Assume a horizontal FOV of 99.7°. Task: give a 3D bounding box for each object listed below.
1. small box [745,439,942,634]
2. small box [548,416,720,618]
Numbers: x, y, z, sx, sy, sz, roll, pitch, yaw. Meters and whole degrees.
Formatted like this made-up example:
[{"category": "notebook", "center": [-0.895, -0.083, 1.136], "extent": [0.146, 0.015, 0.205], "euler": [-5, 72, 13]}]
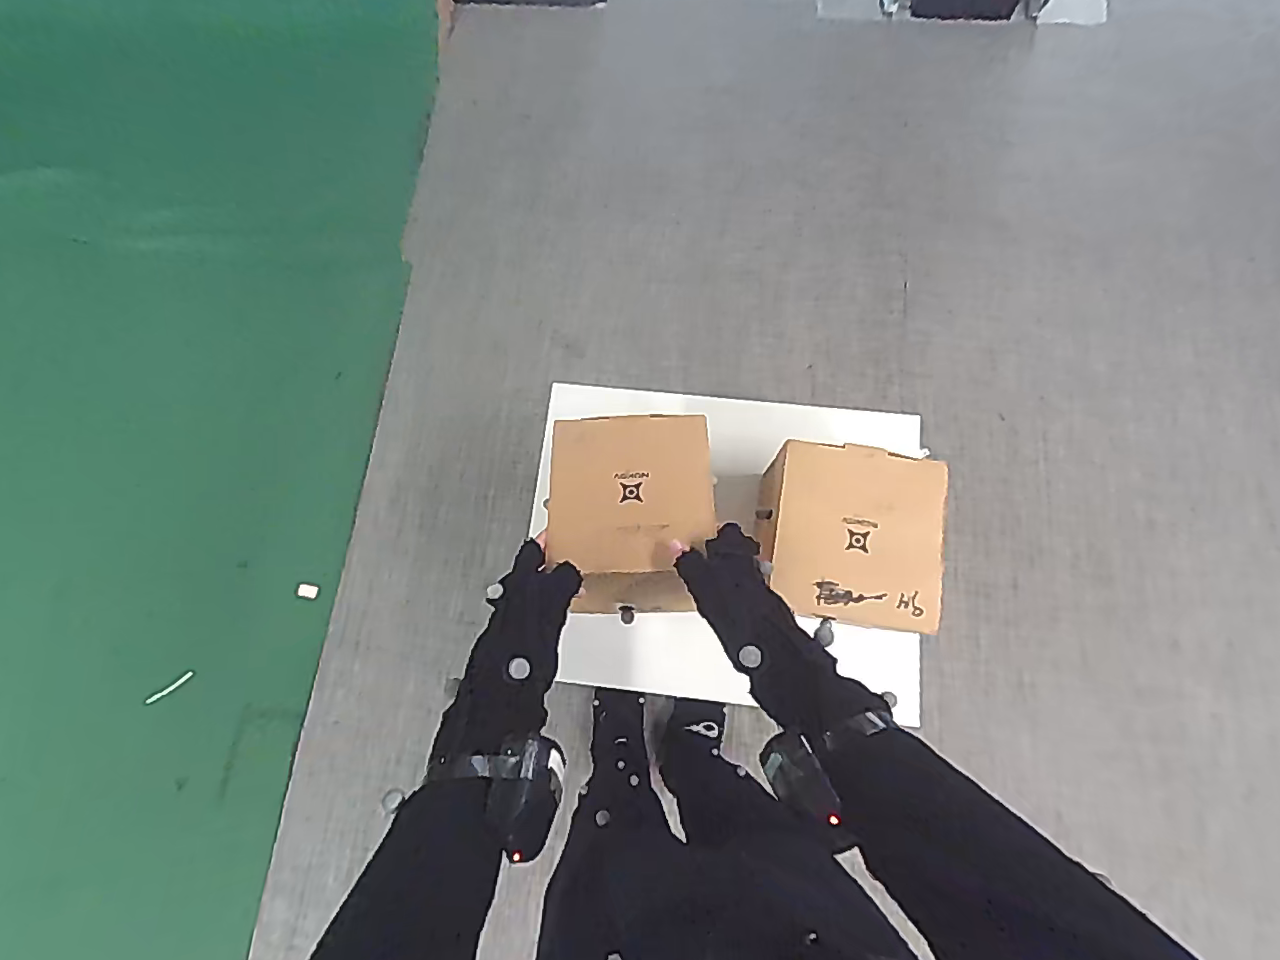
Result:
[{"category": "small box", "center": [0.221, 0.071, 0.625], "extent": [0.168, 0.176, 0.179], "euler": [10, 77, 5]}, {"category": "small box", "center": [-0.006, 0.048, 0.616], "extent": [0.168, 0.176, 0.179], "euler": [-4, 63, 1]}]
